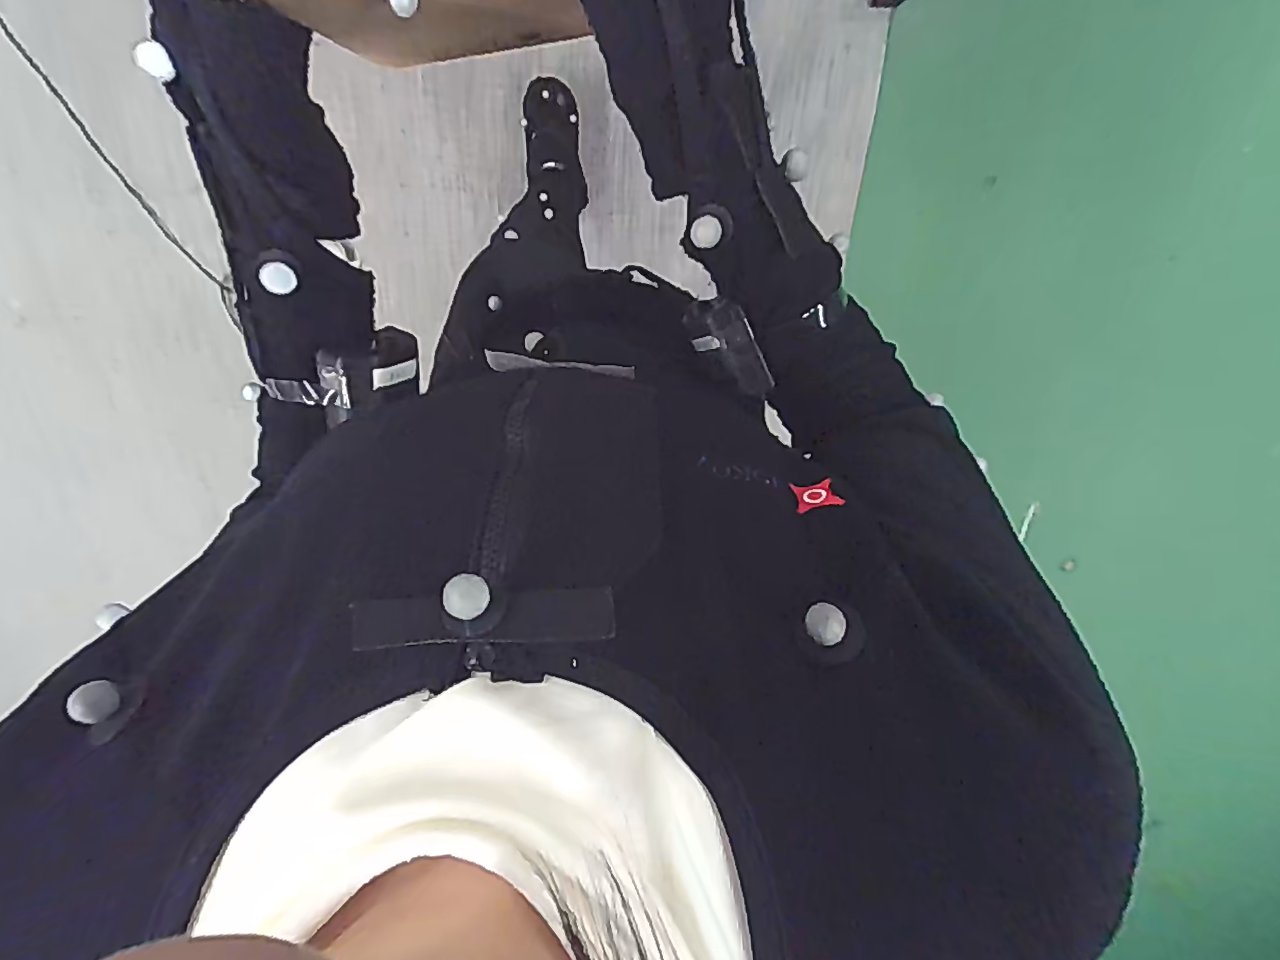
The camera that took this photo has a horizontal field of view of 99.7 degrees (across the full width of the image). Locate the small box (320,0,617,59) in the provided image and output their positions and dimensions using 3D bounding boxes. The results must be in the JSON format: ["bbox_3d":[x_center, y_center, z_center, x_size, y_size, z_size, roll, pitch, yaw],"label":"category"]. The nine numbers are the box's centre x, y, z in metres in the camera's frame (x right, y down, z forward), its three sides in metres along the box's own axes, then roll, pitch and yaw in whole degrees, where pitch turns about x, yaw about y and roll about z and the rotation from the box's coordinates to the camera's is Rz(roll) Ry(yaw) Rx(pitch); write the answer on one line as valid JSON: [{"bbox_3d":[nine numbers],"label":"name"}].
[{"bbox_3d":[-0.102,-0.328,0.244,0.168,0.176,0.179,-7,116,2],"label":"small box"}]
